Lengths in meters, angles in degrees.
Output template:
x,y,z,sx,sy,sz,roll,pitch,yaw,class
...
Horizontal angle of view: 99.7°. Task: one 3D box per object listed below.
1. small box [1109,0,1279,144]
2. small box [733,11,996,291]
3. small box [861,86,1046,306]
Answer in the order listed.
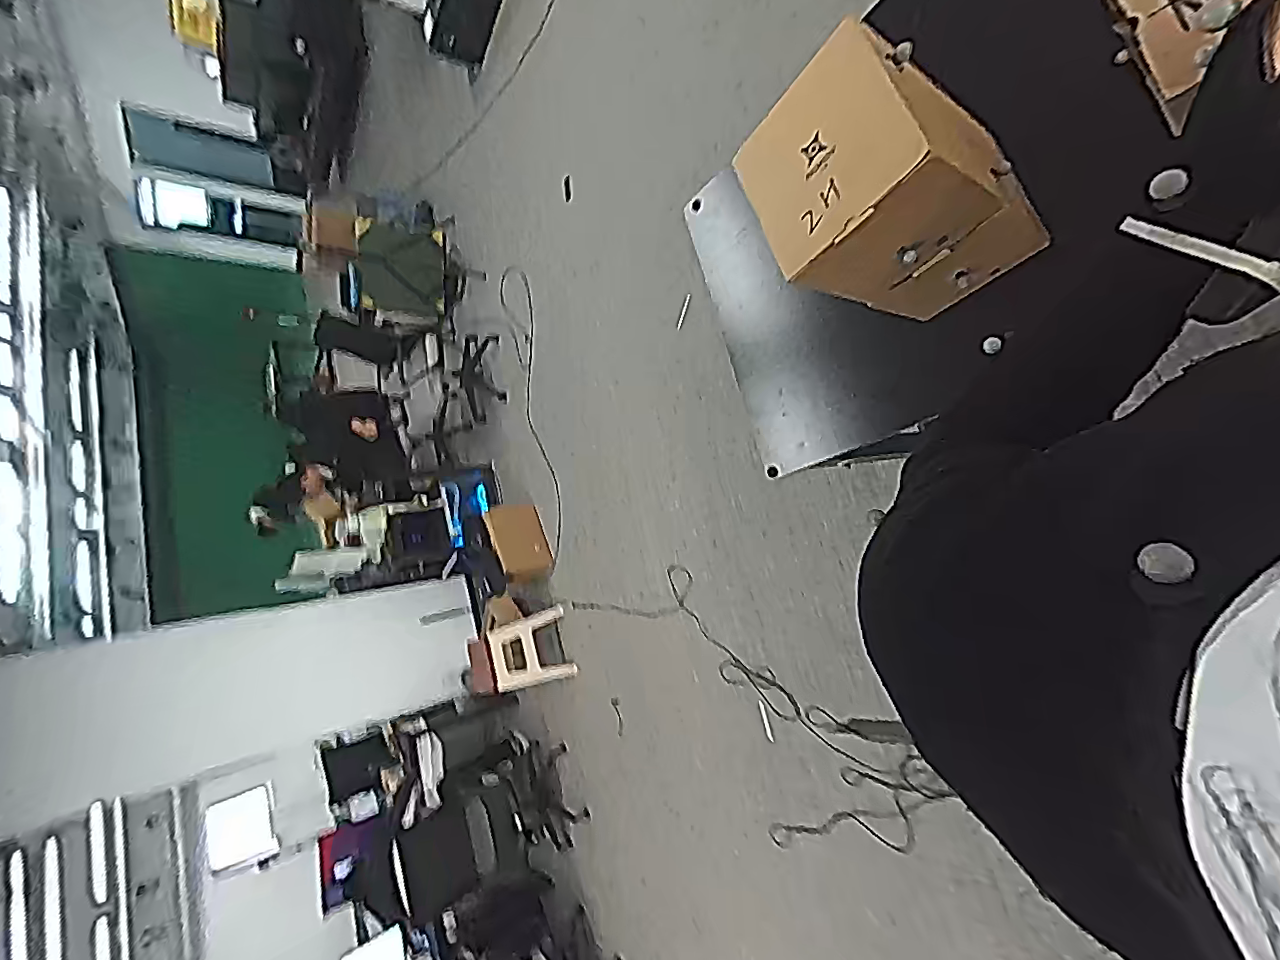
x,y,z,sx,sy,sz,roll,pitch,yaw,class
0.538,-0.432,0.458,0.179,0.176,0.168,-26,74,49,small box
0.238,-0.331,0.584,0.168,0.176,0.179,-37,66,48,small box
0.368,-0.339,0.686,0.168,0.176,0.179,-35,68,48,small box
